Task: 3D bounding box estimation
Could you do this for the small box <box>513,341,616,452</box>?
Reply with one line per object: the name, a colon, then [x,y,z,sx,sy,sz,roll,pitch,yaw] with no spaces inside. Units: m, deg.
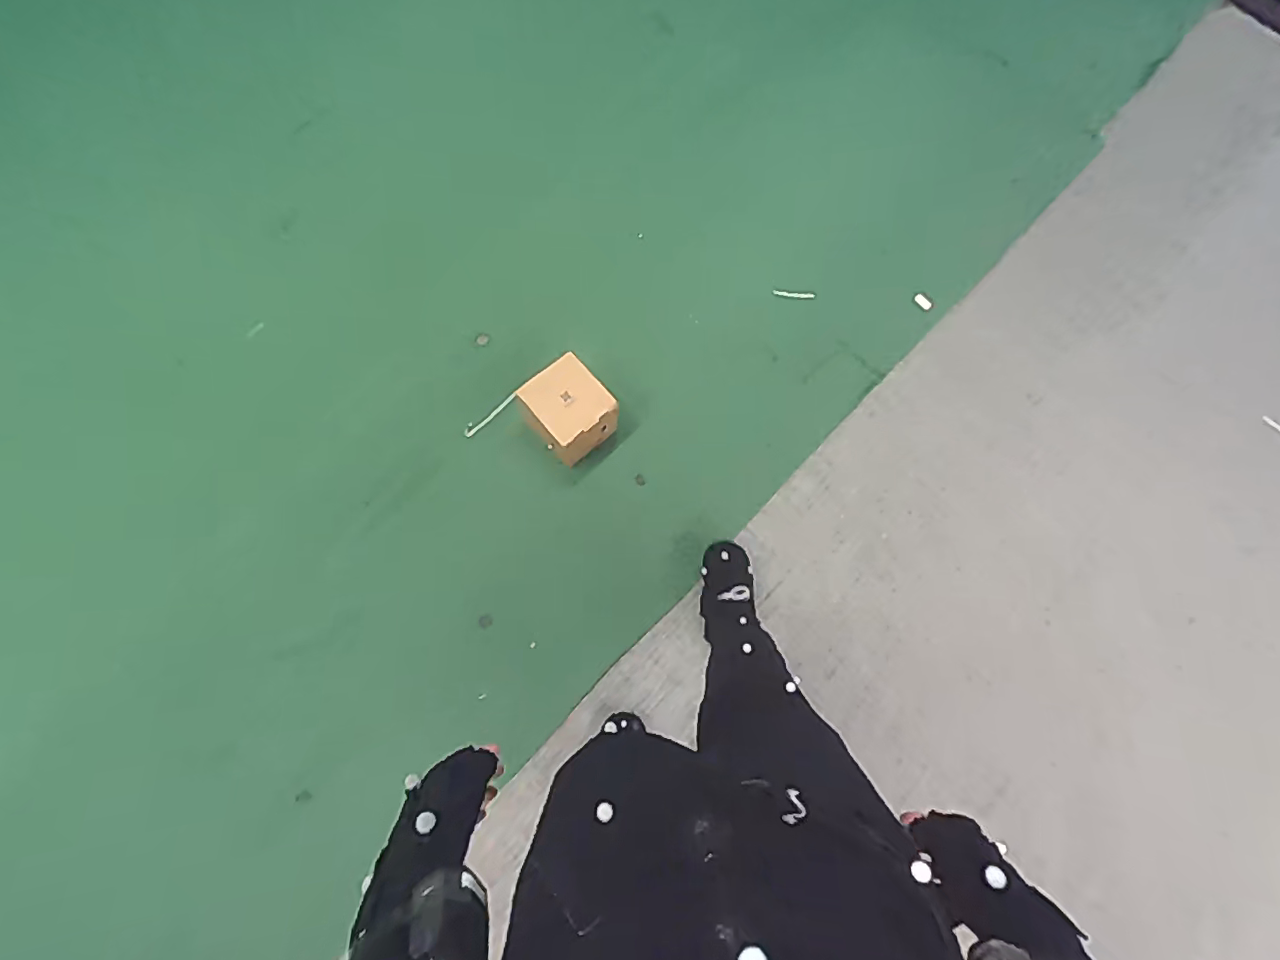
small box: [-0.174,-0.186,1.282,0.168,0.176,0.179,-38,81,-14]
